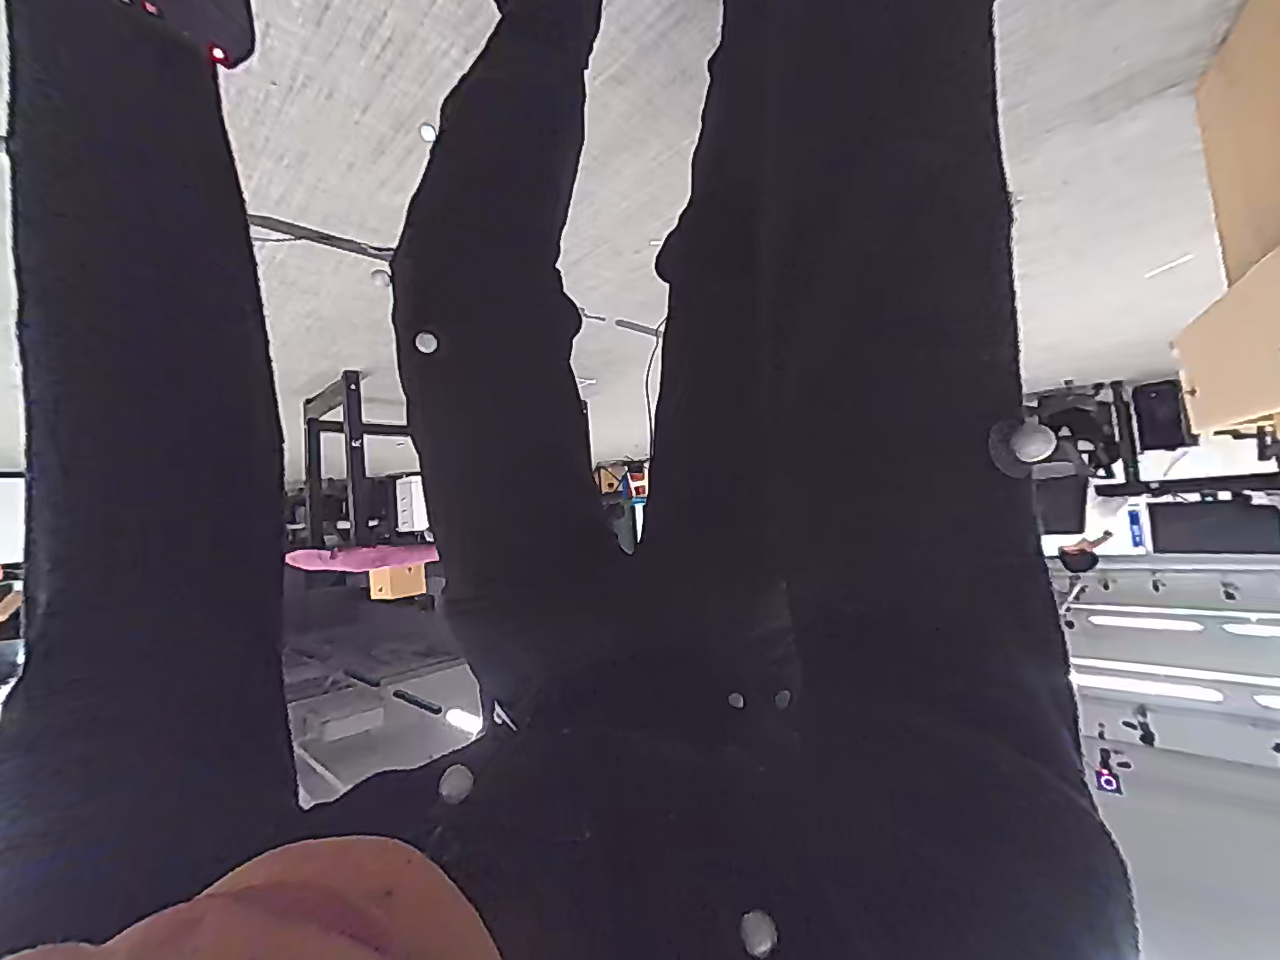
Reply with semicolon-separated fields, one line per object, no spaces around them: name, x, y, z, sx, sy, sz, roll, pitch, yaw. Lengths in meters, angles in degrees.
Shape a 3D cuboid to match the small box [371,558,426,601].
small box;-1.081;0.440;2.415;0.179;0.176;0.168;-10;174;36
